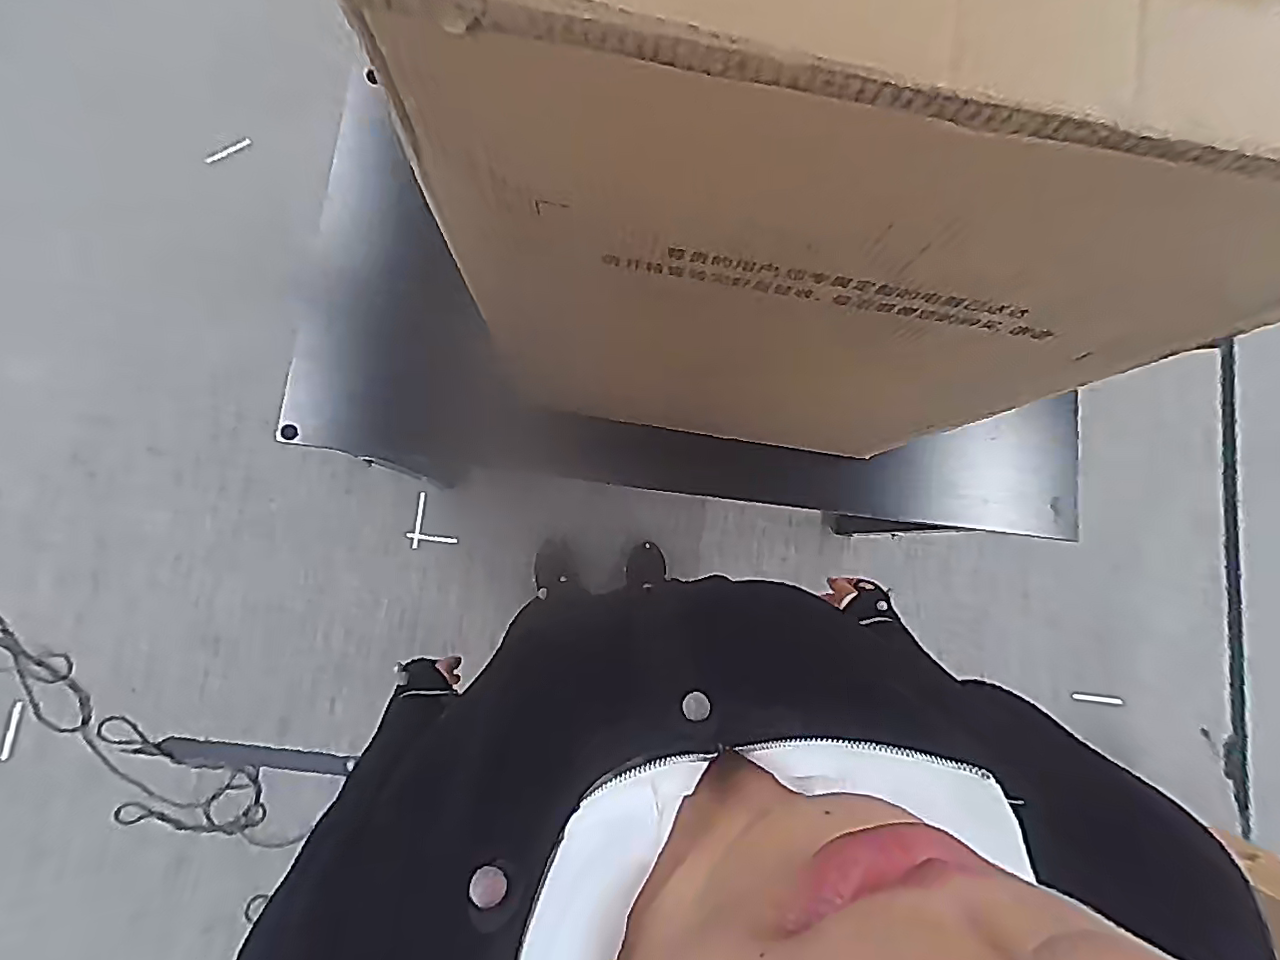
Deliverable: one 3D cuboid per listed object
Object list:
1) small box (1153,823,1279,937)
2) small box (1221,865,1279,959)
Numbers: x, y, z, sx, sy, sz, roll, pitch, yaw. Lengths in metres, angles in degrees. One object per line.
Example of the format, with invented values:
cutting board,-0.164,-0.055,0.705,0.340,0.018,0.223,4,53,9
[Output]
small box,1.372,0.942,1.282,0.168,0.176,0.179,3,83,-4
small box,1.380,0.930,1.117,0.179,0.176,0.168,-1,83,-4
